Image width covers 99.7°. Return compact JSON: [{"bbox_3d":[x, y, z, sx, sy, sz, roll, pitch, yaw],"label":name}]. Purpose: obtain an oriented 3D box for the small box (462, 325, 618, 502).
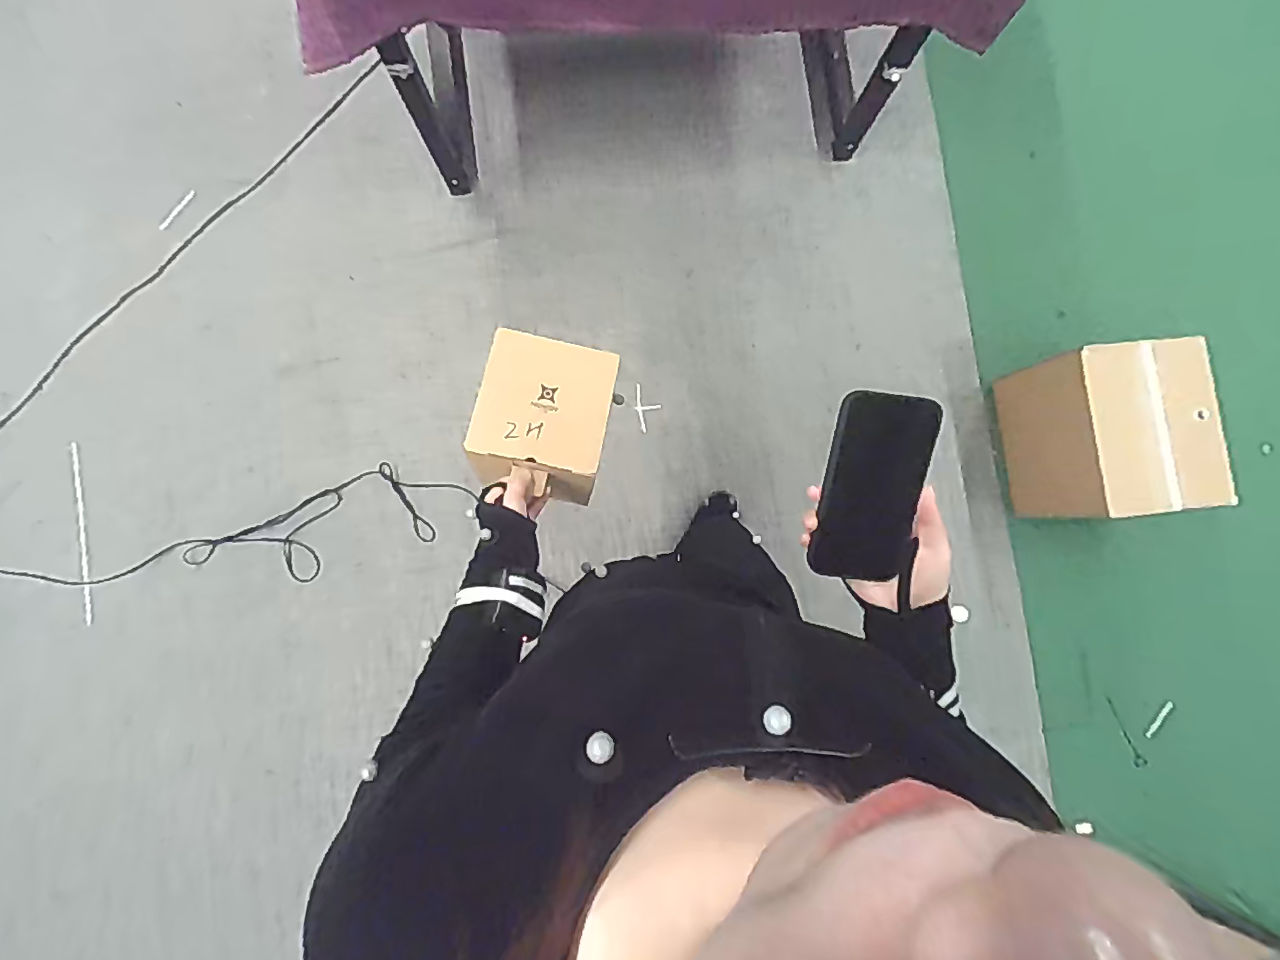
[{"bbox_3d":[-0.134,-0.083,0.760,0.168,0.176,0.179,12,73,-4],"label":"small box"}]
